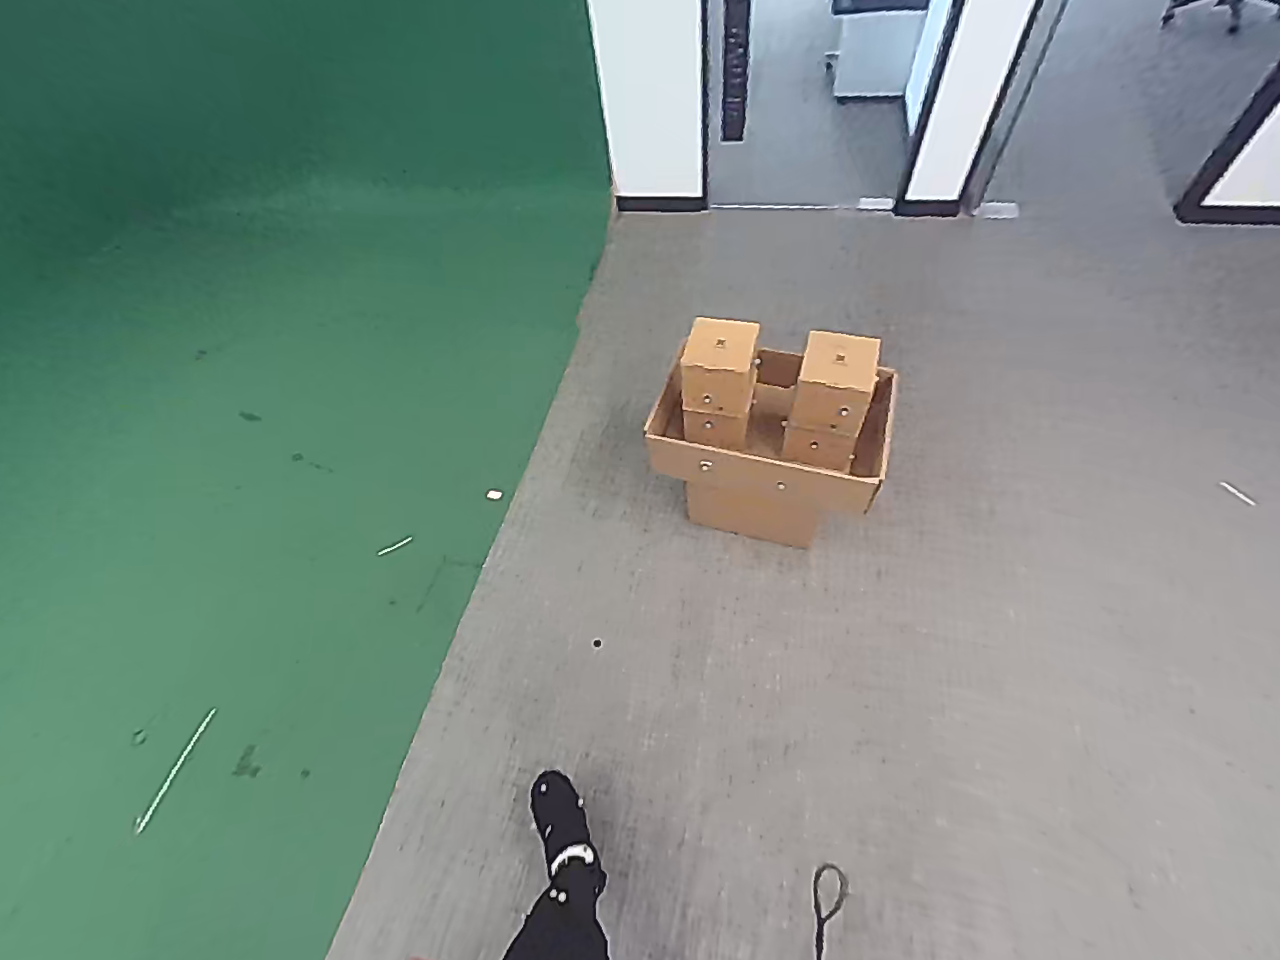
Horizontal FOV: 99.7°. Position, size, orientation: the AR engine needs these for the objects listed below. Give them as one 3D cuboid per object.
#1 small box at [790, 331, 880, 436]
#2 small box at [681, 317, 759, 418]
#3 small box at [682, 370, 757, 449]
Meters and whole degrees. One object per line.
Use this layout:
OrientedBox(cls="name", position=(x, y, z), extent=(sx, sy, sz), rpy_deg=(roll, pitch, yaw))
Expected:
OrientedBox(cls="small box", position=(0.471, -0.233, 1.321), extent=(0.168, 0.176, 0.179), rpy_deg=(13, 57, 14))
OrientedBox(cls="small box", position=(0.203, -0.289, 1.392), extent=(0.168, 0.176, 0.179), rpy_deg=(11, 58, 13))
OrientedBox(cls="small box", position=(0.225, -0.206, 1.530), extent=(0.179, 0.176, 0.168), rpy_deg=(11, 58, 14))
